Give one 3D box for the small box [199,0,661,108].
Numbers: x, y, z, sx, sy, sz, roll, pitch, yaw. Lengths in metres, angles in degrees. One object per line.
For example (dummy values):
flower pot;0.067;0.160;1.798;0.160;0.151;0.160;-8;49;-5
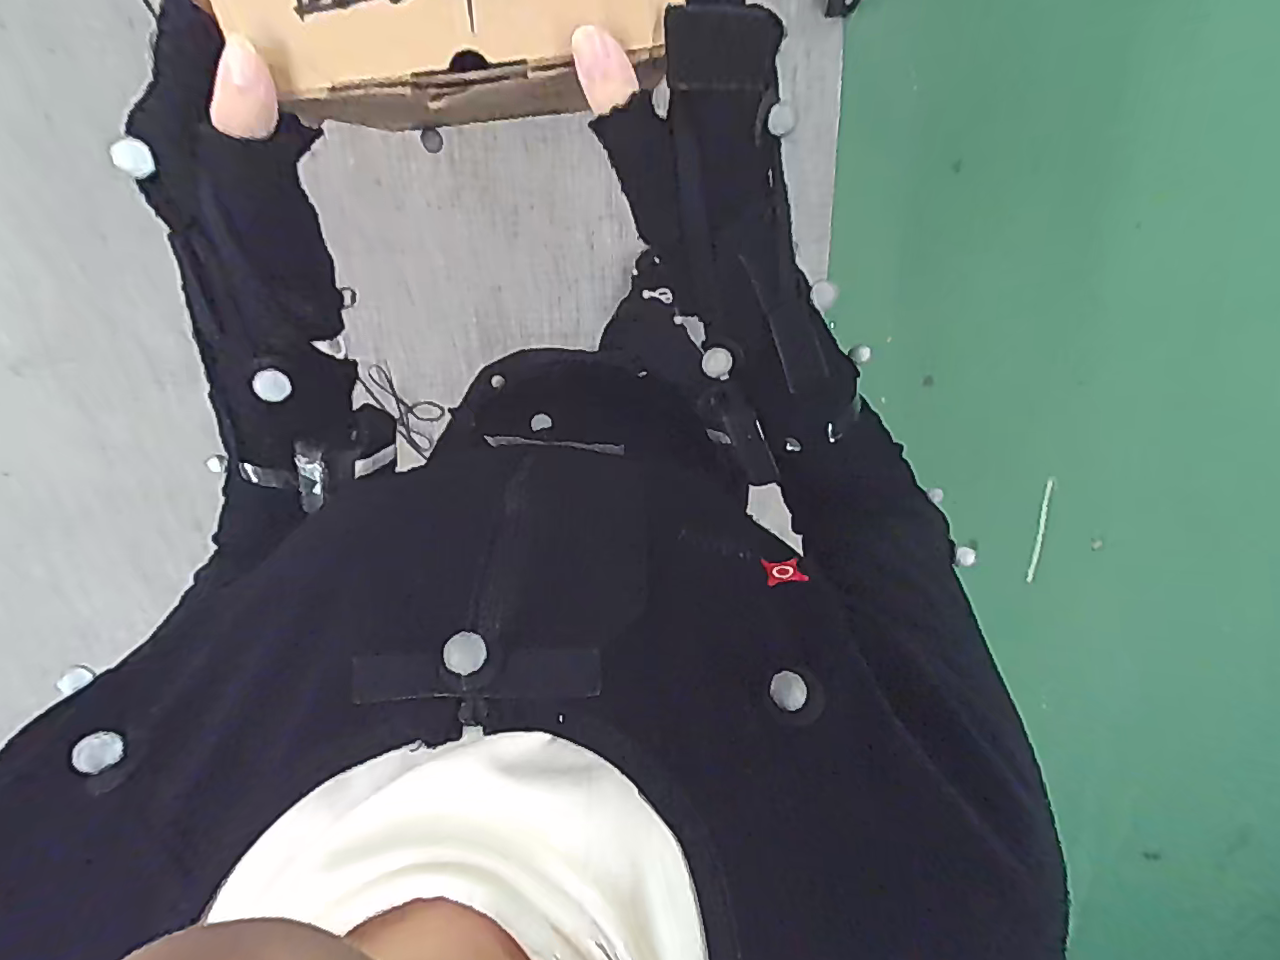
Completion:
small box;-0.084;-0.271;0.227;0.168;0.176;0.179;-8;119;-1
